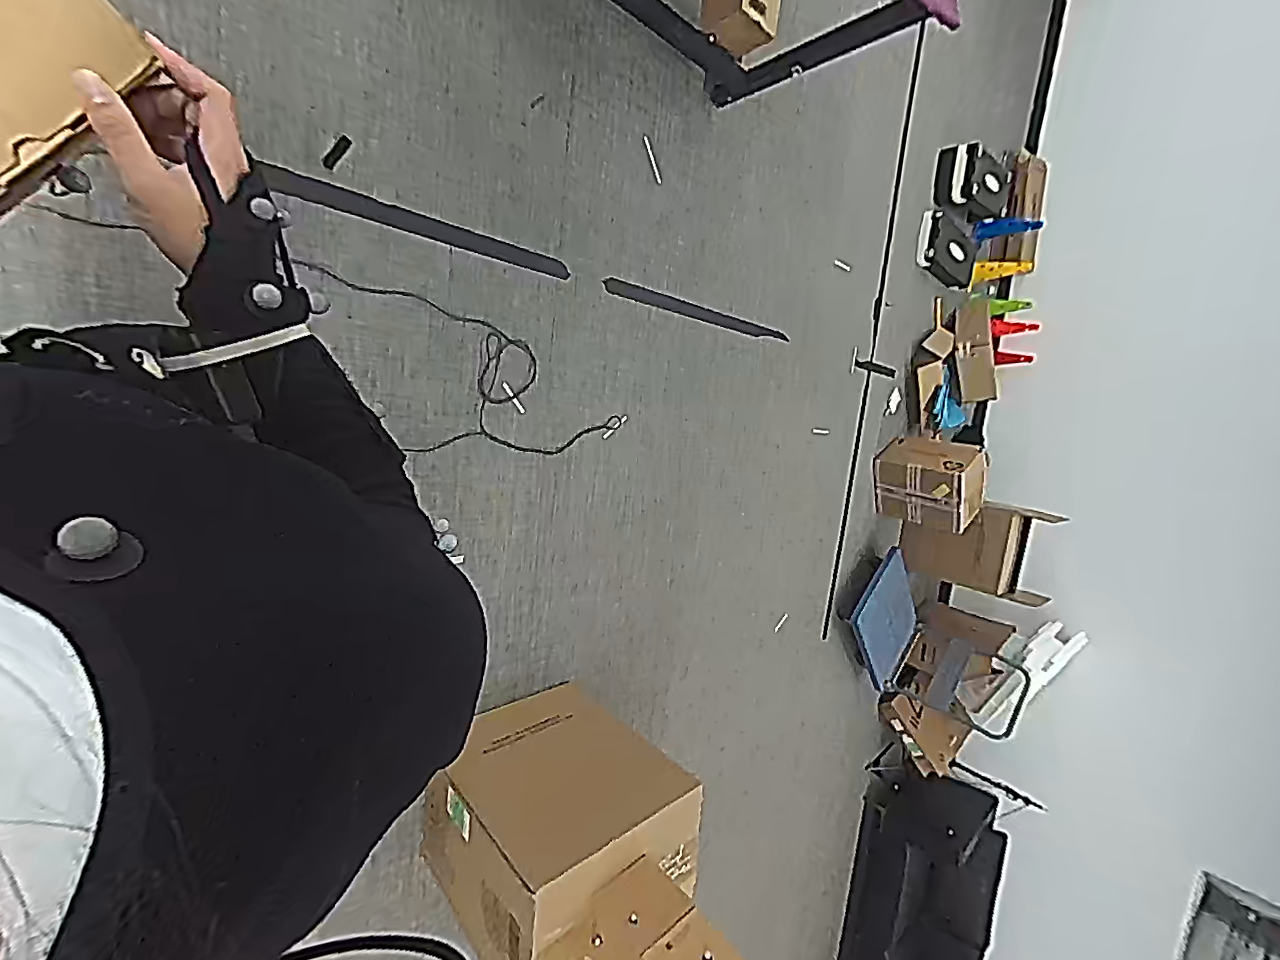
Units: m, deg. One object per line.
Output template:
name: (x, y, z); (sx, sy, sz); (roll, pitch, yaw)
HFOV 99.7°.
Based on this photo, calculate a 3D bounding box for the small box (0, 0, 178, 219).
small box: (-0.385, -0.242, 0.266); (0.168, 0.176, 0.179); (-49, 137, -11)

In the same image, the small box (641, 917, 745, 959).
small box: (0.104, 1.048, 1.100); (0.168, 0.176, 0.179); (-6, 106, -42)

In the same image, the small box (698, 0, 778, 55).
small box: (0.289, -1.407, 1.591); (0.168, 0.176, 0.179); (-1, 100, -42)
